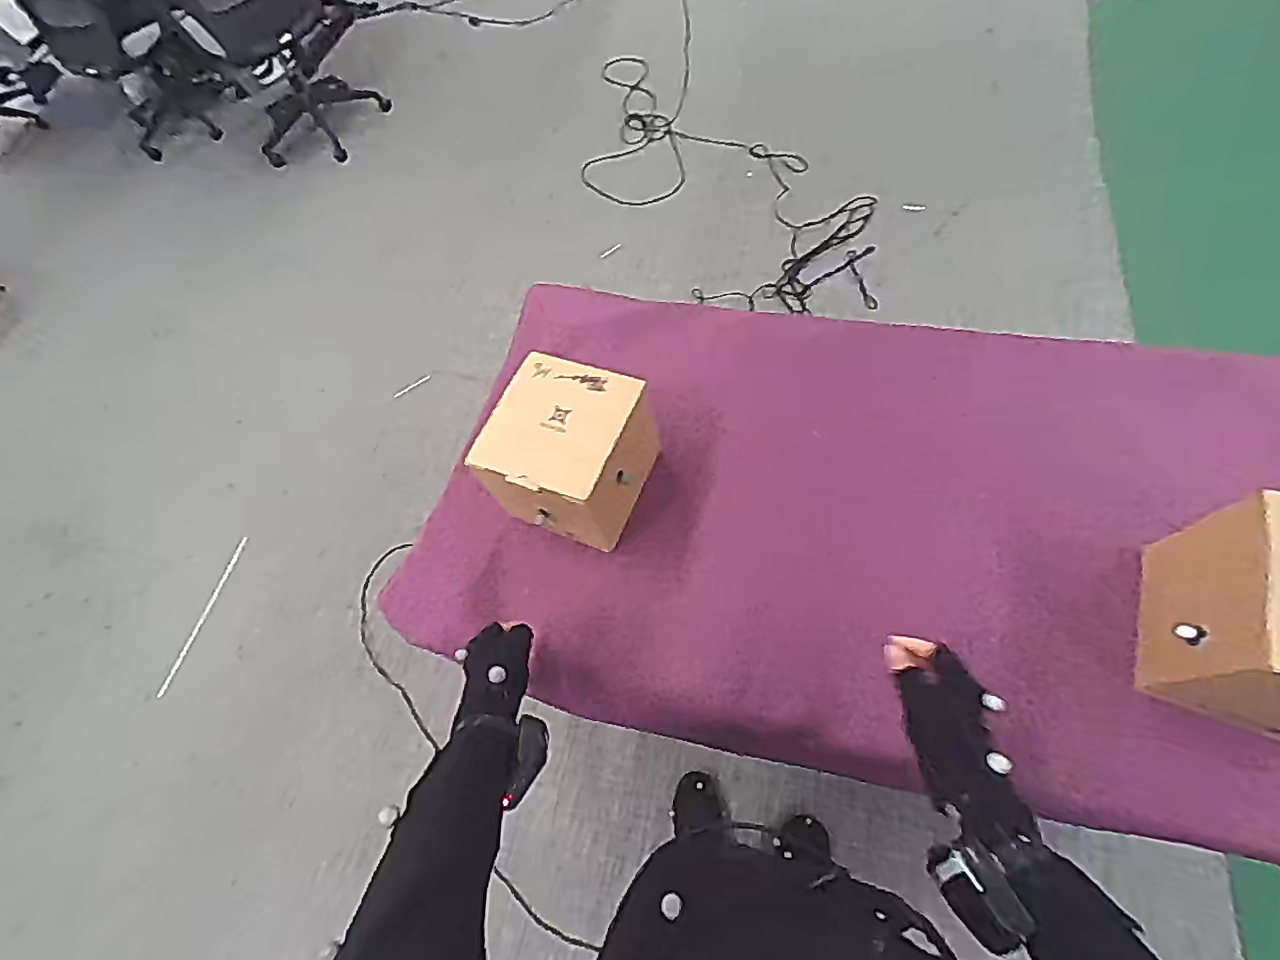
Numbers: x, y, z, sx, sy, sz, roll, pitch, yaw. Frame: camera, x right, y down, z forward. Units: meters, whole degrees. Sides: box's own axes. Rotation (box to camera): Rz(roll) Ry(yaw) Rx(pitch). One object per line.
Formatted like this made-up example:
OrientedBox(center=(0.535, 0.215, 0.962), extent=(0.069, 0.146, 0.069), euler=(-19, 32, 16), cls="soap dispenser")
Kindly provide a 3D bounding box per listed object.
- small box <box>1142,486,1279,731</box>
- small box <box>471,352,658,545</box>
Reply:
OrientedBox(center=(0.629, 0.137, 0.514), extent=(0.168, 0.176, 0.179), euler=(19, 68, 17), cls="small box")
OrientedBox(center=(-0.084, -0.034, 0.718), extent=(0.168, 0.176, 0.179), euler=(18, 69, 17), cls="small box")
